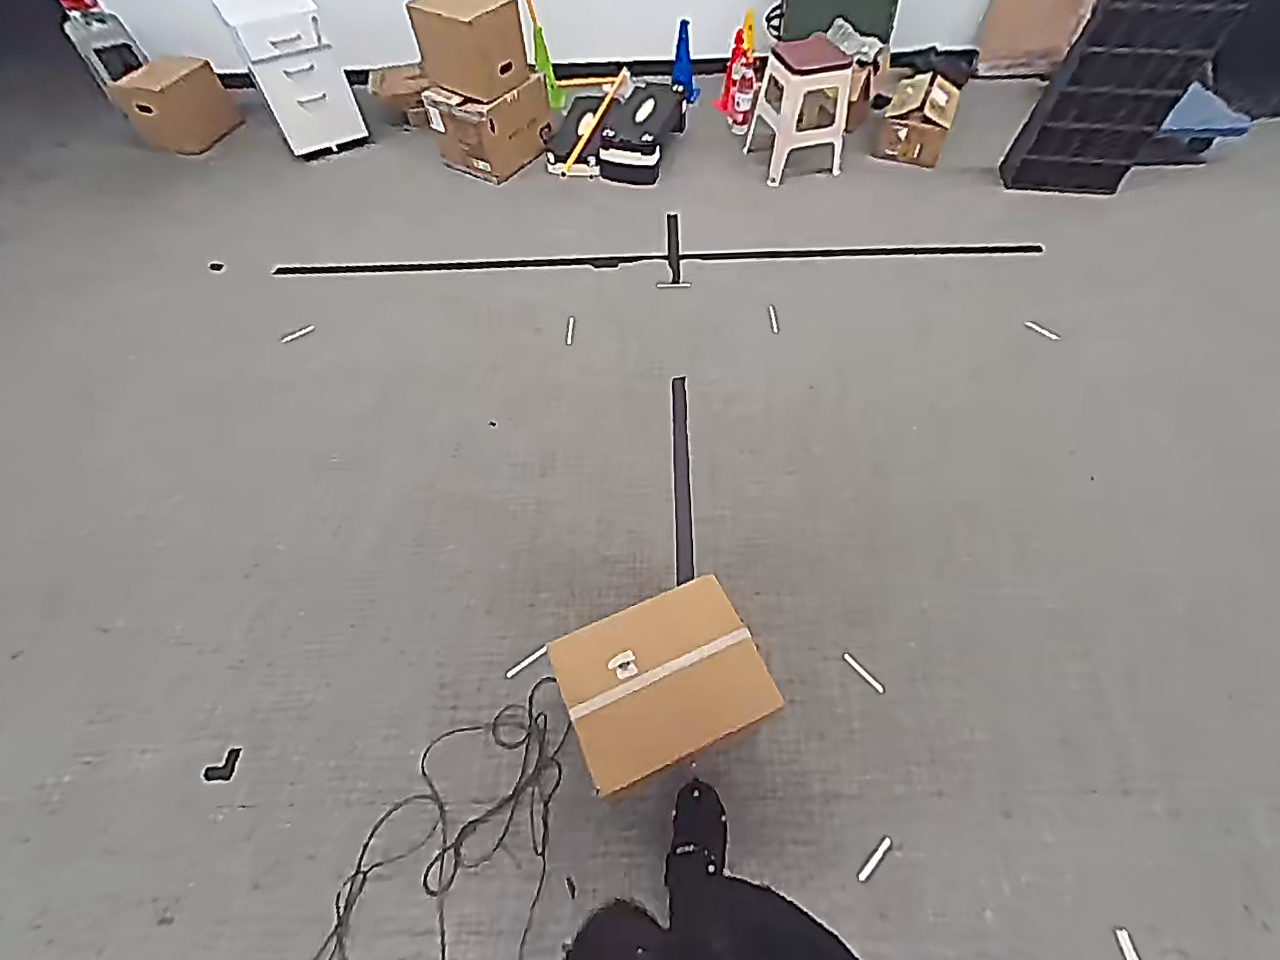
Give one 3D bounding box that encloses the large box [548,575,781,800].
[{"bbox_3d":[0.049,0.479,1.241,0.408,0.320,0.320,-22,59,-11],"label":"large box"}]
